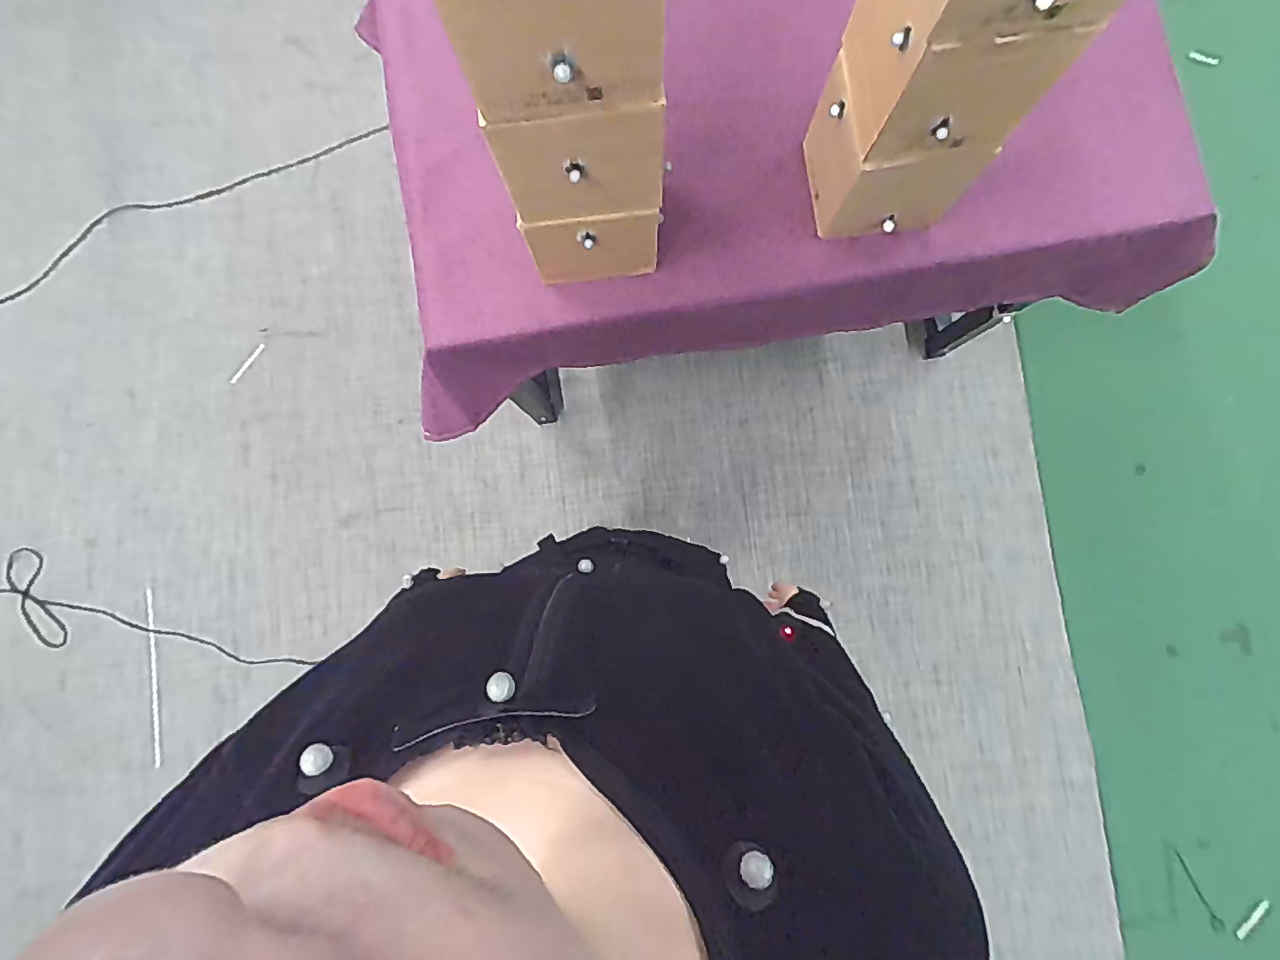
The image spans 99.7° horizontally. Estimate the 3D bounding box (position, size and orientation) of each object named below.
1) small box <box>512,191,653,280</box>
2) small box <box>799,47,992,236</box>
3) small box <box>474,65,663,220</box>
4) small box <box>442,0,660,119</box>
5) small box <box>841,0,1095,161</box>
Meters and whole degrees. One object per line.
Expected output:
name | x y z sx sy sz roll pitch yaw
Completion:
small box | -0.075 -0.395 0.751 0.179 0.176 0.168 -6 86 0
small box | 0.340 -0.465 0.751 0.179 0.176 0.168 -7 85 0
small box | -0.072 -0.411 0.588 0.179 0.176 0.168 -7 86 2
small box | -0.075 -0.431 0.424 0.168 0.176 0.179 -7 86 1
small box | 0.334 -0.490 0.589 0.168 0.176 0.179 -7 86 0
